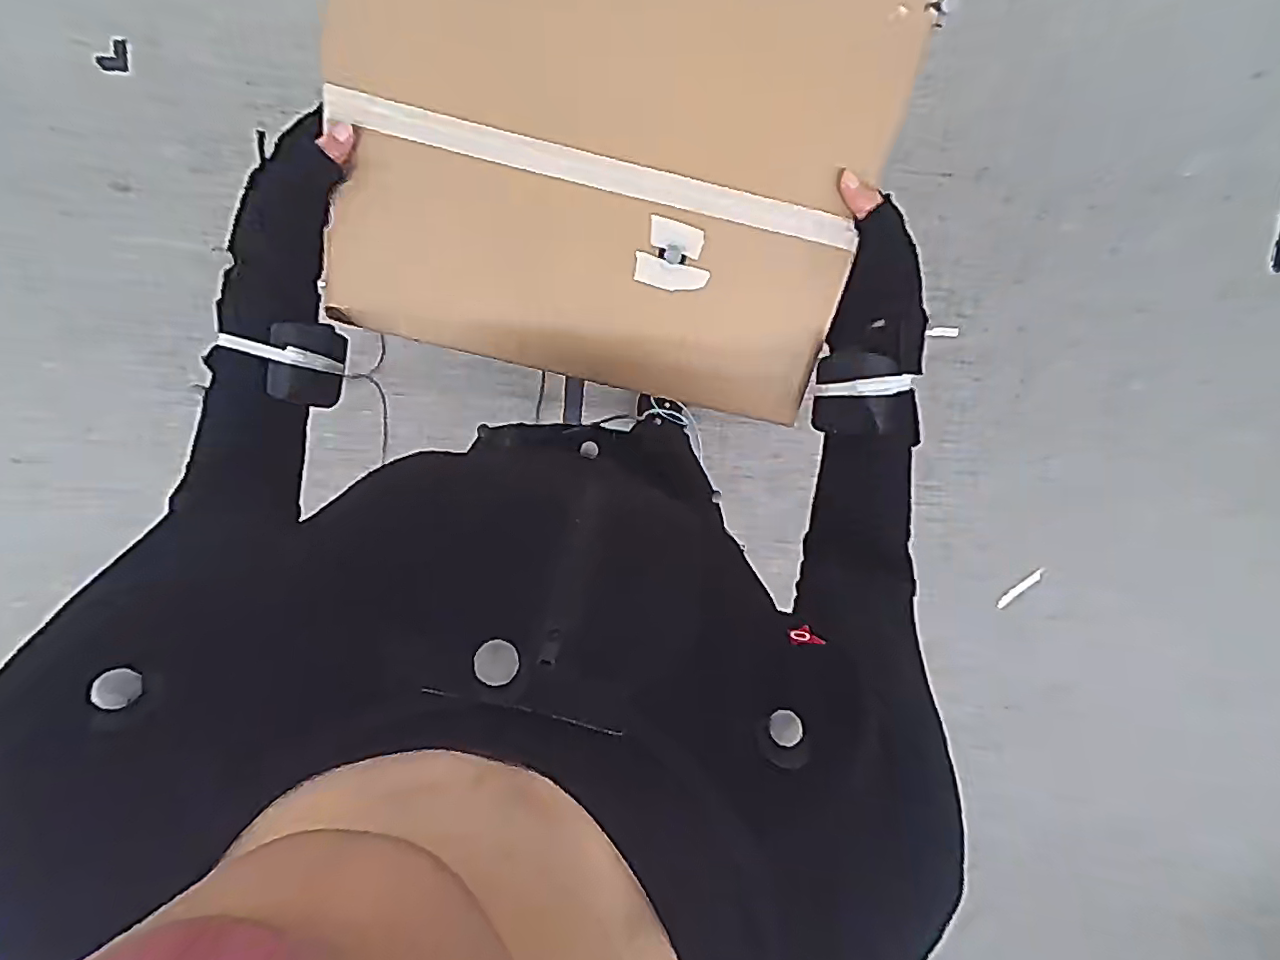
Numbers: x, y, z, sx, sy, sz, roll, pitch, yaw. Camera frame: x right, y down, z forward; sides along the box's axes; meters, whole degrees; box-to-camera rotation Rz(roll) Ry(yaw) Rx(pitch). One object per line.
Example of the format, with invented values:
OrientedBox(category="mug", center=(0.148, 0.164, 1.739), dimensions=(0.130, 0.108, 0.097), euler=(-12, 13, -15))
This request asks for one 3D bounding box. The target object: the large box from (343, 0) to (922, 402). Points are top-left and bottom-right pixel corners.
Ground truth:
OrientedBox(category="large box", center=(-0.028, -0.299, 0.554), dimensions=(0.408, 0.320, 0.320), euler=(11, 113, -5))
